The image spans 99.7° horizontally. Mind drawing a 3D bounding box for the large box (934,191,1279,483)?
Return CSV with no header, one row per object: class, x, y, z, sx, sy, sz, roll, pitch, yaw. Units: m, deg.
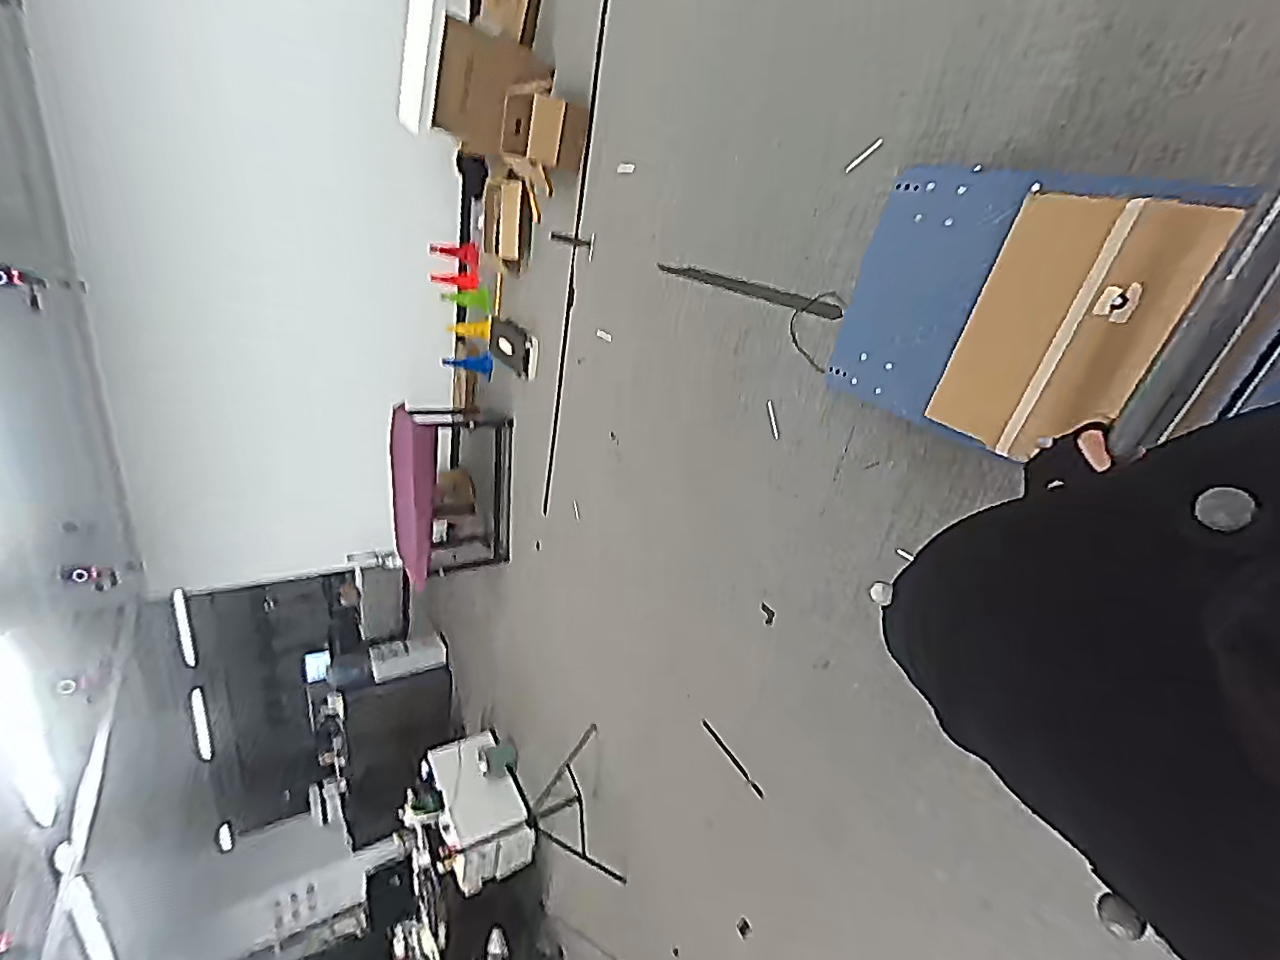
large box,0.817,-0.244,0.955,0.320,0.320,0.408,42,126,45
